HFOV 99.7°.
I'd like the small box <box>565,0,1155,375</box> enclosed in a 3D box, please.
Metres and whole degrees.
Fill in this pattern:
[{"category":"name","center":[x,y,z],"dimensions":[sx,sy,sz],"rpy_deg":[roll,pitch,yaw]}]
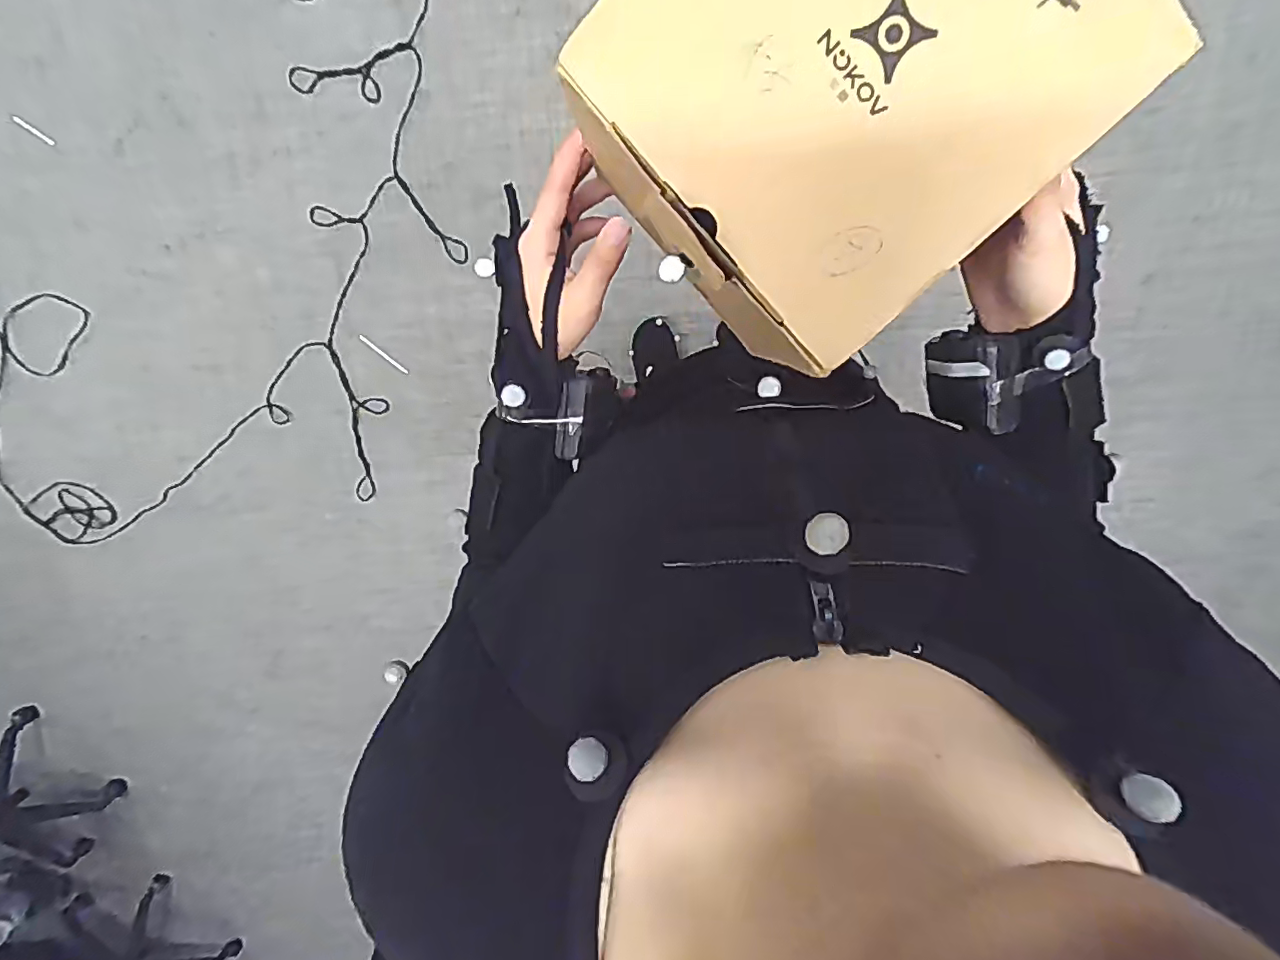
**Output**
[{"category":"small box","center":[0.089,-0.180,0.292],"dimensions":[0.179,0.176,0.168],"rpy_deg":[-43,101,13]}]
